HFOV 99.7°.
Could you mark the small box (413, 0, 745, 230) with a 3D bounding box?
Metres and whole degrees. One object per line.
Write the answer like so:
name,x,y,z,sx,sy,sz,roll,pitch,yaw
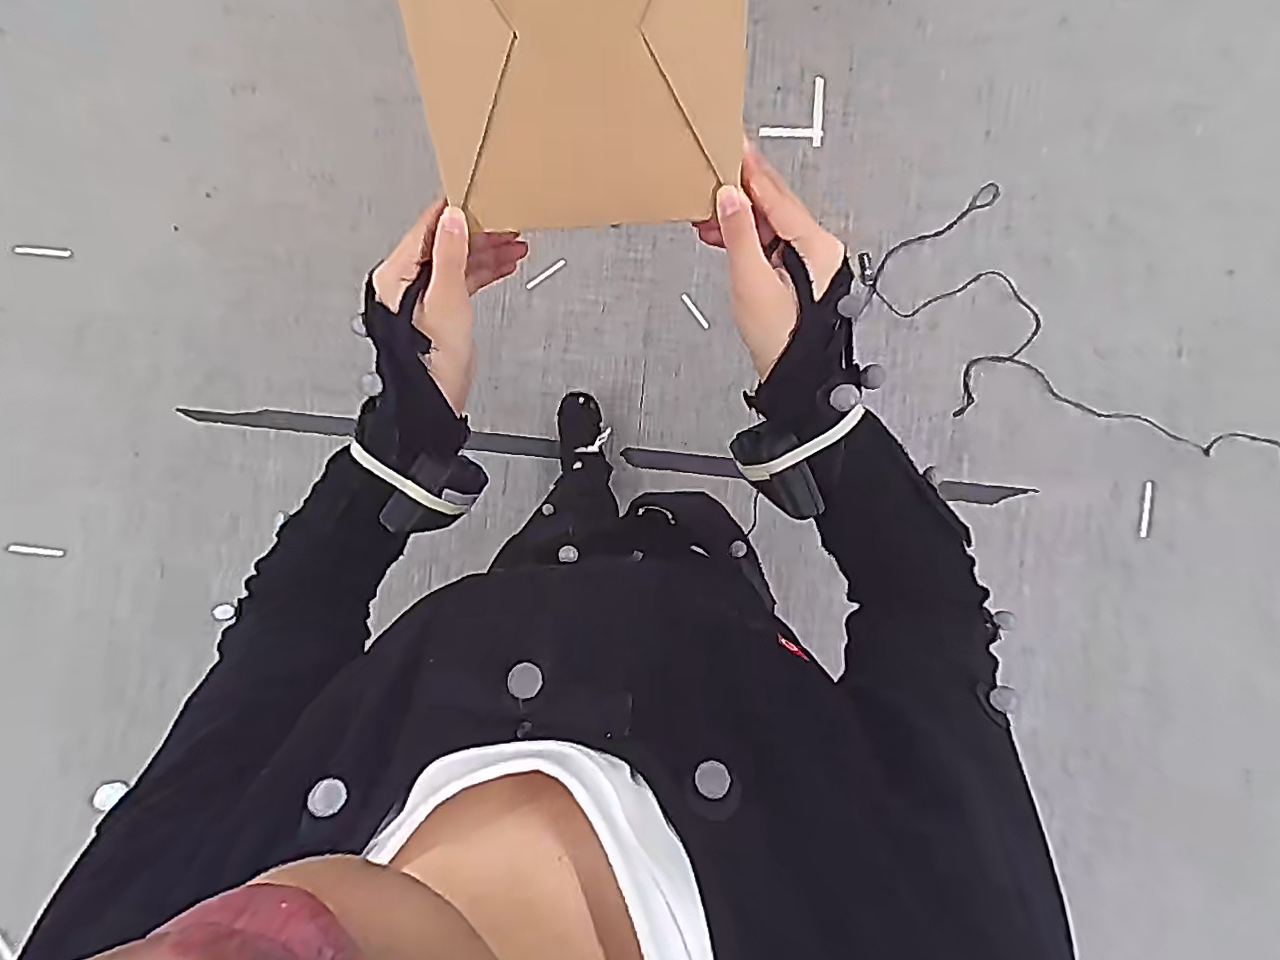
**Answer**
small box,-0.029,-0.266,0.337,0.168,0.176,0.179,-2,126,3
